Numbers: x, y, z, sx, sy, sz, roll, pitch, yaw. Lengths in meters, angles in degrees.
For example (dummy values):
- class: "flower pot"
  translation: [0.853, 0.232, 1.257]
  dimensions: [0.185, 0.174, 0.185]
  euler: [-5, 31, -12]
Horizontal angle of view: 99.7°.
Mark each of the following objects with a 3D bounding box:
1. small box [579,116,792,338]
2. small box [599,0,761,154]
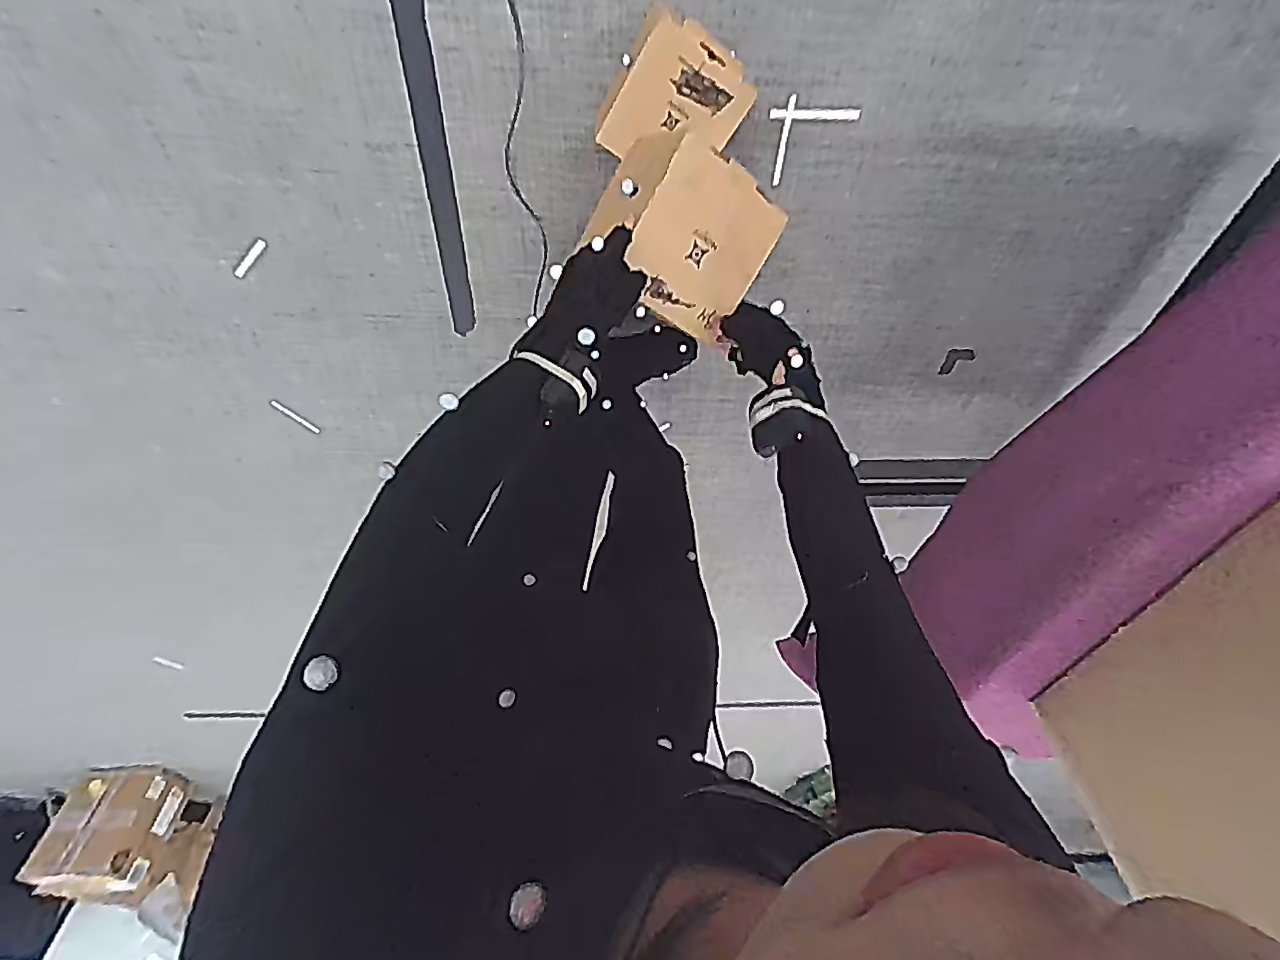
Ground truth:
- class: "small box"
  translation: [0.045, -0.309, 0.675]
  dimensions: [0.168, 0.176, 0.179]
  euler: [23, 106, -32]
- class: "small box"
  translation: [0.050, -0.573, 0.812]
  dimensions: [0.168, 0.176, 0.179]
  euler: [24, 130, -24]
